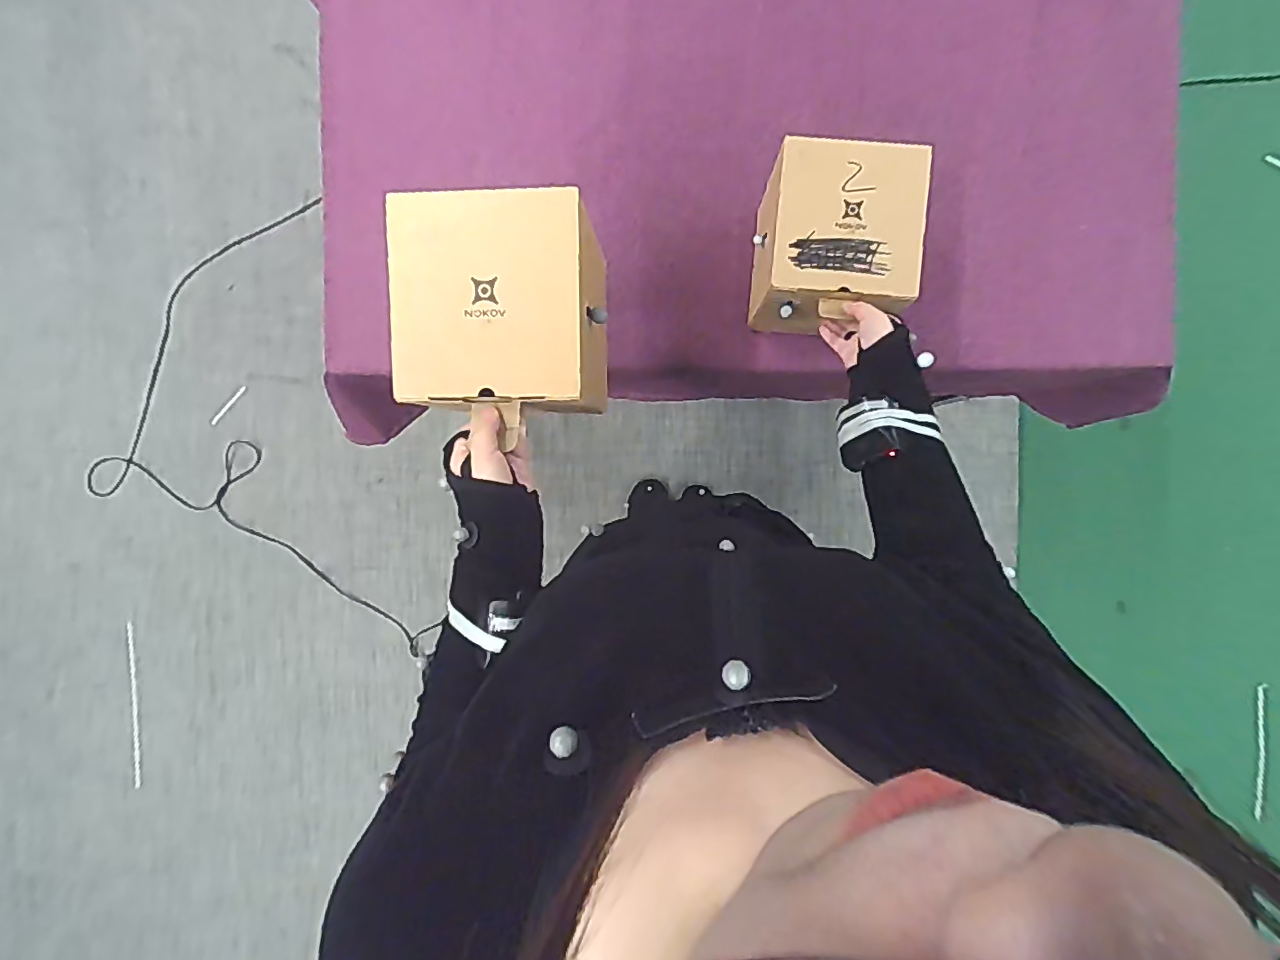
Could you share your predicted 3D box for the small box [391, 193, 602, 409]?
[{"bbox_3d":[-0.131,-0.165,0.550,0.168,0.176,0.179,0,95,4],"label":"small box"}]
